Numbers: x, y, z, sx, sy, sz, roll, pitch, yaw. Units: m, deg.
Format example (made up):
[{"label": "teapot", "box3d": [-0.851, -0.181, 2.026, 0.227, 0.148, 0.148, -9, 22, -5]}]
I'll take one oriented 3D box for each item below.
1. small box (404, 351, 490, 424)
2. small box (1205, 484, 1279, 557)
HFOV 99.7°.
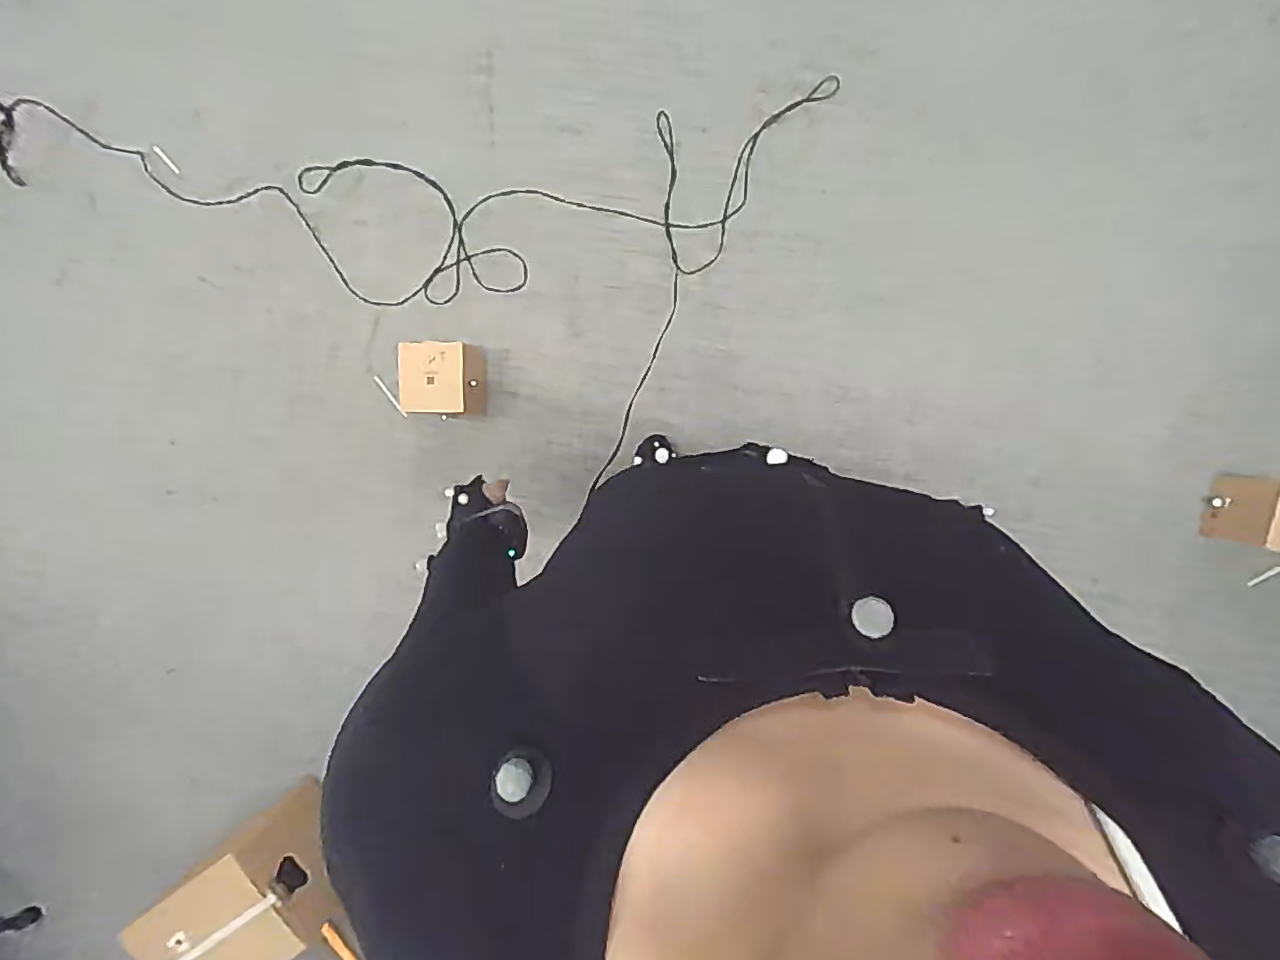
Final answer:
[{"label": "small box", "box3d": [-0.499, -0.237, 1.418, 0.168, 0.176, 0.179, 1, 94, 4]}, {"label": "small box", "box3d": [1.581, 0.107, 1.334, 0.179, 0.176, 0.168, 10, 94, 4]}]
